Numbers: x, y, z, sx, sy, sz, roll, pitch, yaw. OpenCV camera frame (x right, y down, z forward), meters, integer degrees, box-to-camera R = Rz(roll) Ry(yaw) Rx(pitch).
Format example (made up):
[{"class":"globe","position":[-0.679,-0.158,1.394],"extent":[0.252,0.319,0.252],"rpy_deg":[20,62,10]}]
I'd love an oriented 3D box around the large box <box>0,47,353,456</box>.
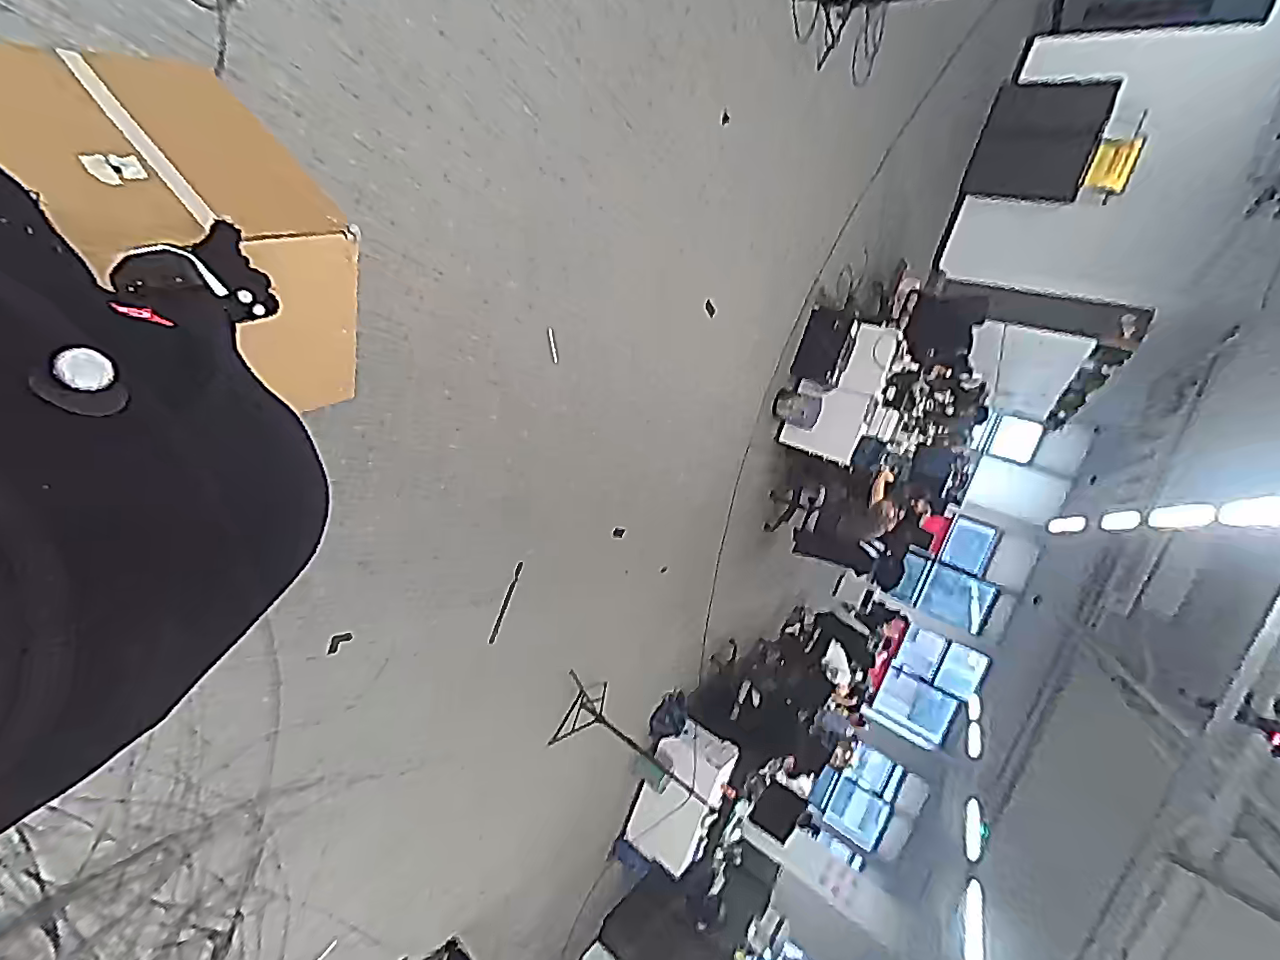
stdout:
[{"class":"large box","position":[-0.668,-0.311,0.755],"extent":[0.320,0.408,0.320],"rpy_deg":[-33,164,-42]}]
